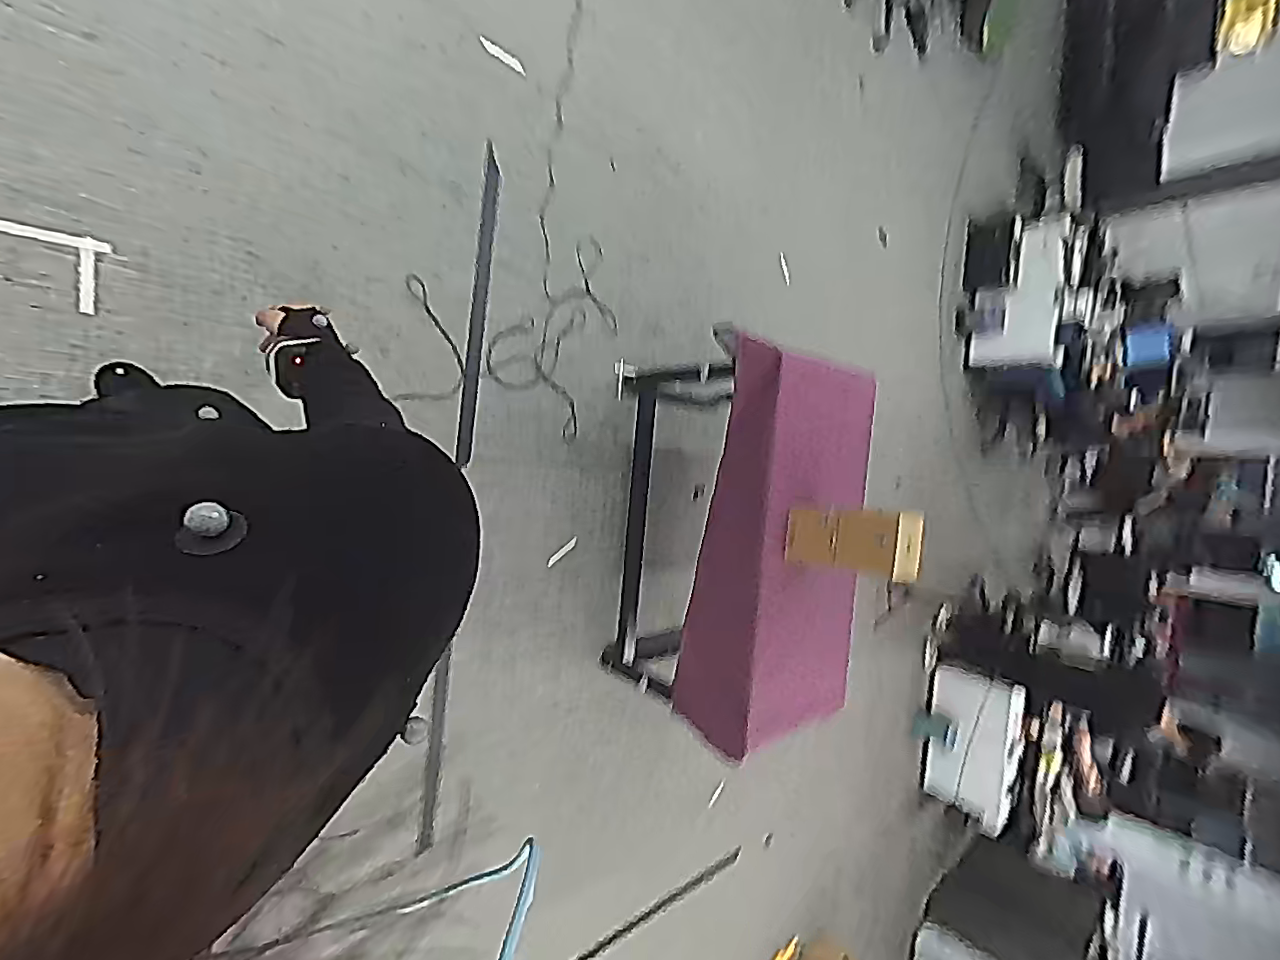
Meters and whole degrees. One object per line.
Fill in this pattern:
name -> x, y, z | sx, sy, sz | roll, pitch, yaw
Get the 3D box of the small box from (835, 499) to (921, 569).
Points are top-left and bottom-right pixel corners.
small box -> 0.670, 0.148, 1.527 | 0.168, 0.176, 0.179 | 6, 91, -42
